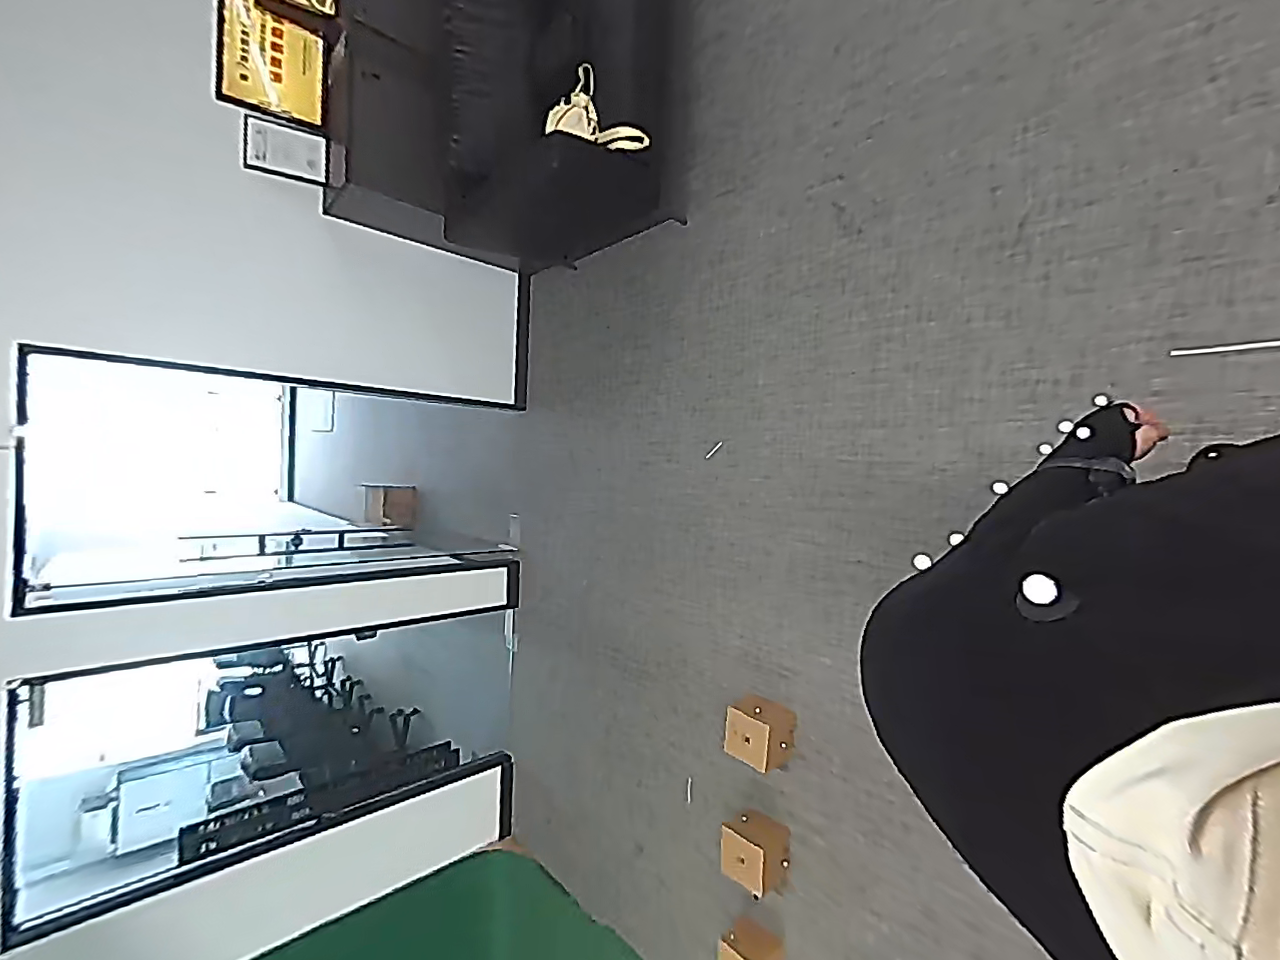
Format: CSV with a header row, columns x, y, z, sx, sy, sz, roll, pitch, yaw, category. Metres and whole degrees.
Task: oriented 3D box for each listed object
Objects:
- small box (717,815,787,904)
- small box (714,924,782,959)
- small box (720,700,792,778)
x,y,z,sx,sy,sz,roll,pitch,yaw,category
0.389,1.305,1.880,0.179,0.176,0.168,2,91,47,small box
0.377,1.705,1.878,0.179,0.176,0.168,2,90,48,small box
0.405,0.887,1.875,0.179,0.176,0.168,9,94,47,small box
